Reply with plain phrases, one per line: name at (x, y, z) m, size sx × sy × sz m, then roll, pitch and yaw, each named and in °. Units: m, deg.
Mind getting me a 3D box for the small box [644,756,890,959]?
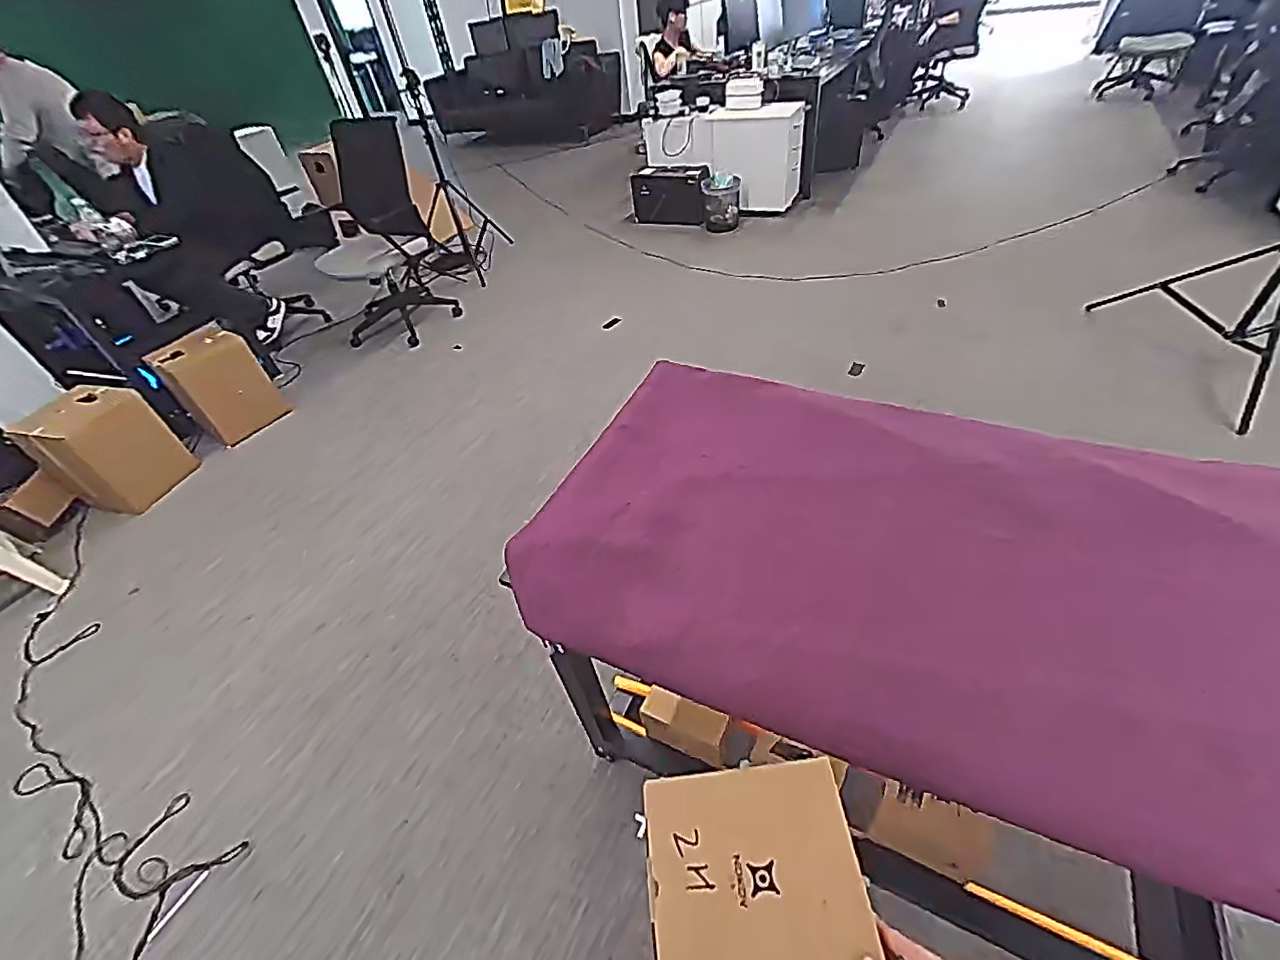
small box at (0.108, 0.374, 0.500) m, size 0.179 × 0.176 × 0.168 m, roll -11°, pitch 47°, yaw 6°
